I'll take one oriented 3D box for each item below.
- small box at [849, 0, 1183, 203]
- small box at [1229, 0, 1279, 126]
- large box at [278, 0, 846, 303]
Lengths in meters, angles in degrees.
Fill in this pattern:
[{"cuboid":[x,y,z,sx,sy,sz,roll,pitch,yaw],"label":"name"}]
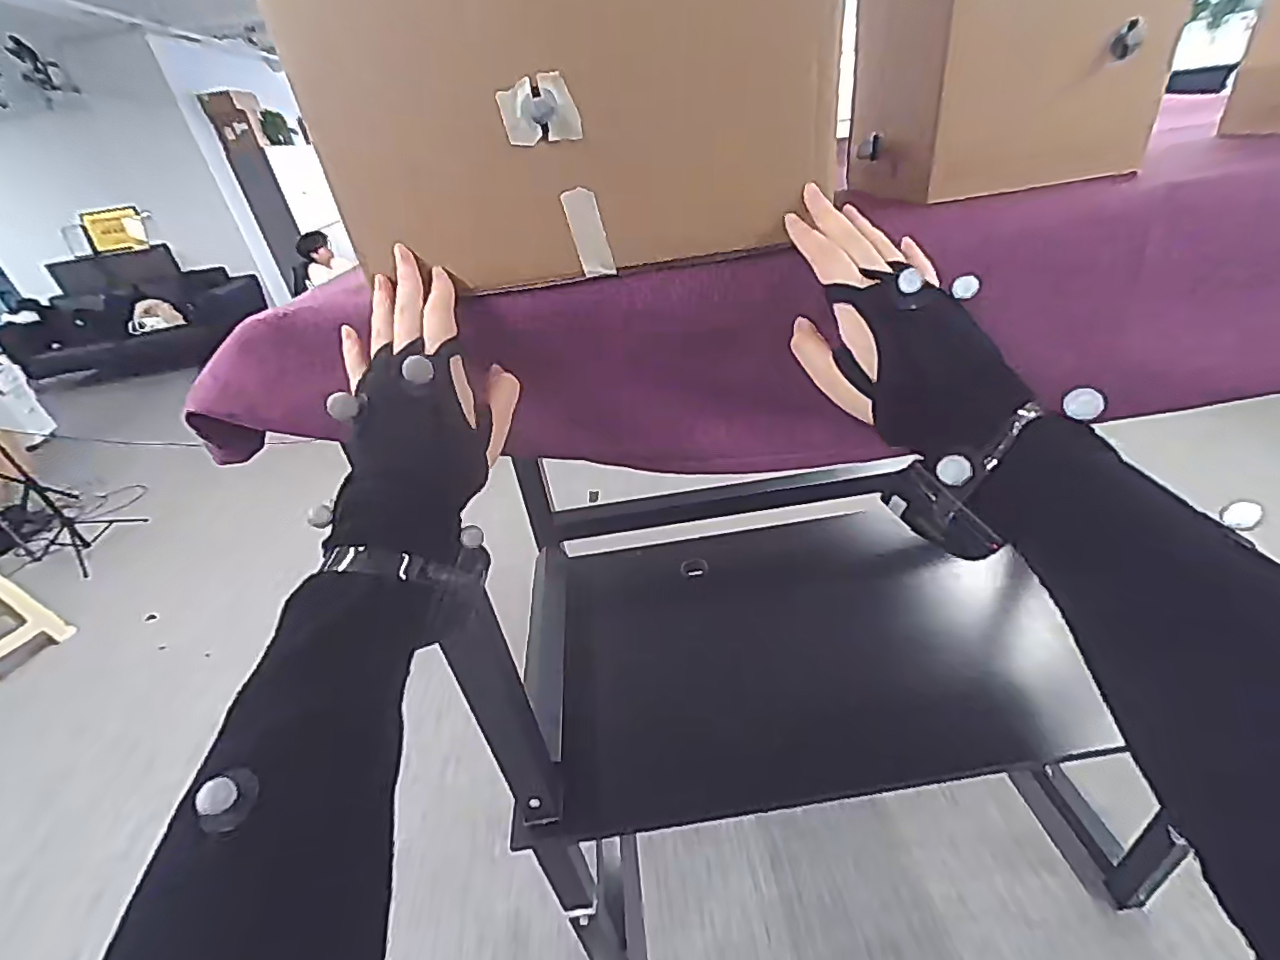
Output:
[{"cuboid":[0.294,-0.345,0.454,0.179,0.176,0.168,-9,31,1],"label":"small box"},{"cuboid":[0.656,-0.391,0.431,0.179,0.176,0.168,-10,31,-2],"label":"small box"},{"cuboid":[-0.055,-0.363,0.444,0.320,0.320,0.408,-8,31,1],"label":"large box"}]
